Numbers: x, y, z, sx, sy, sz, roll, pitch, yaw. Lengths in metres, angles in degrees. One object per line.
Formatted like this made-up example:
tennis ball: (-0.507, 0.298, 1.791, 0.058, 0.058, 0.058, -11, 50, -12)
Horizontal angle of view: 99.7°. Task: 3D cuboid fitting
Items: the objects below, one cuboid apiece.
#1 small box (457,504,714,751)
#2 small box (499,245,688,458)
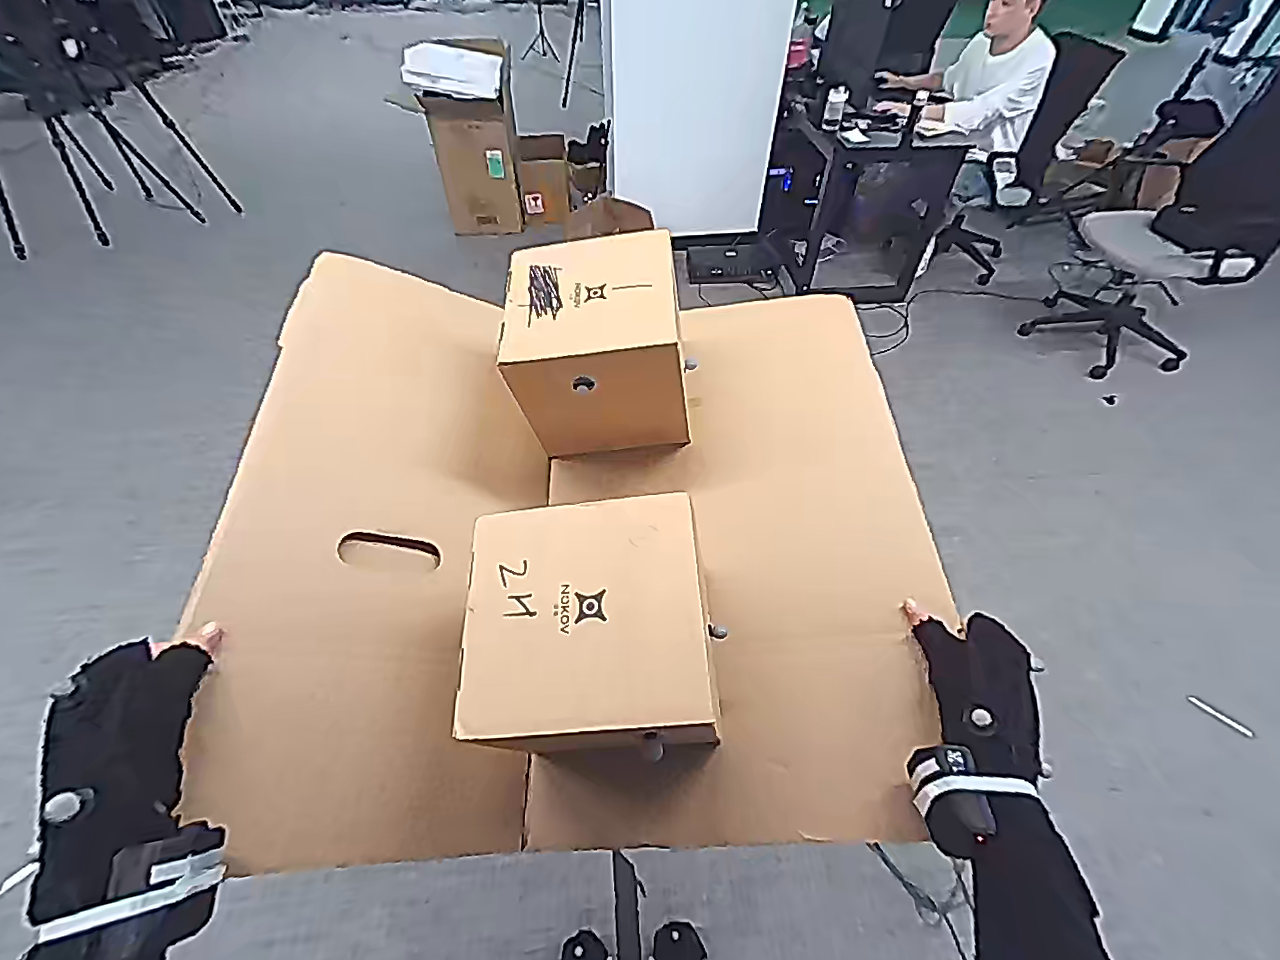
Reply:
small box: (-0.030, 0.136, 0.466, 0.179, 0.176, 0.168, -7, 59, 7)
small box: (-0.042, -0.137, 0.625, 0.179, 0.176, 0.168, -5, 60, 6)
